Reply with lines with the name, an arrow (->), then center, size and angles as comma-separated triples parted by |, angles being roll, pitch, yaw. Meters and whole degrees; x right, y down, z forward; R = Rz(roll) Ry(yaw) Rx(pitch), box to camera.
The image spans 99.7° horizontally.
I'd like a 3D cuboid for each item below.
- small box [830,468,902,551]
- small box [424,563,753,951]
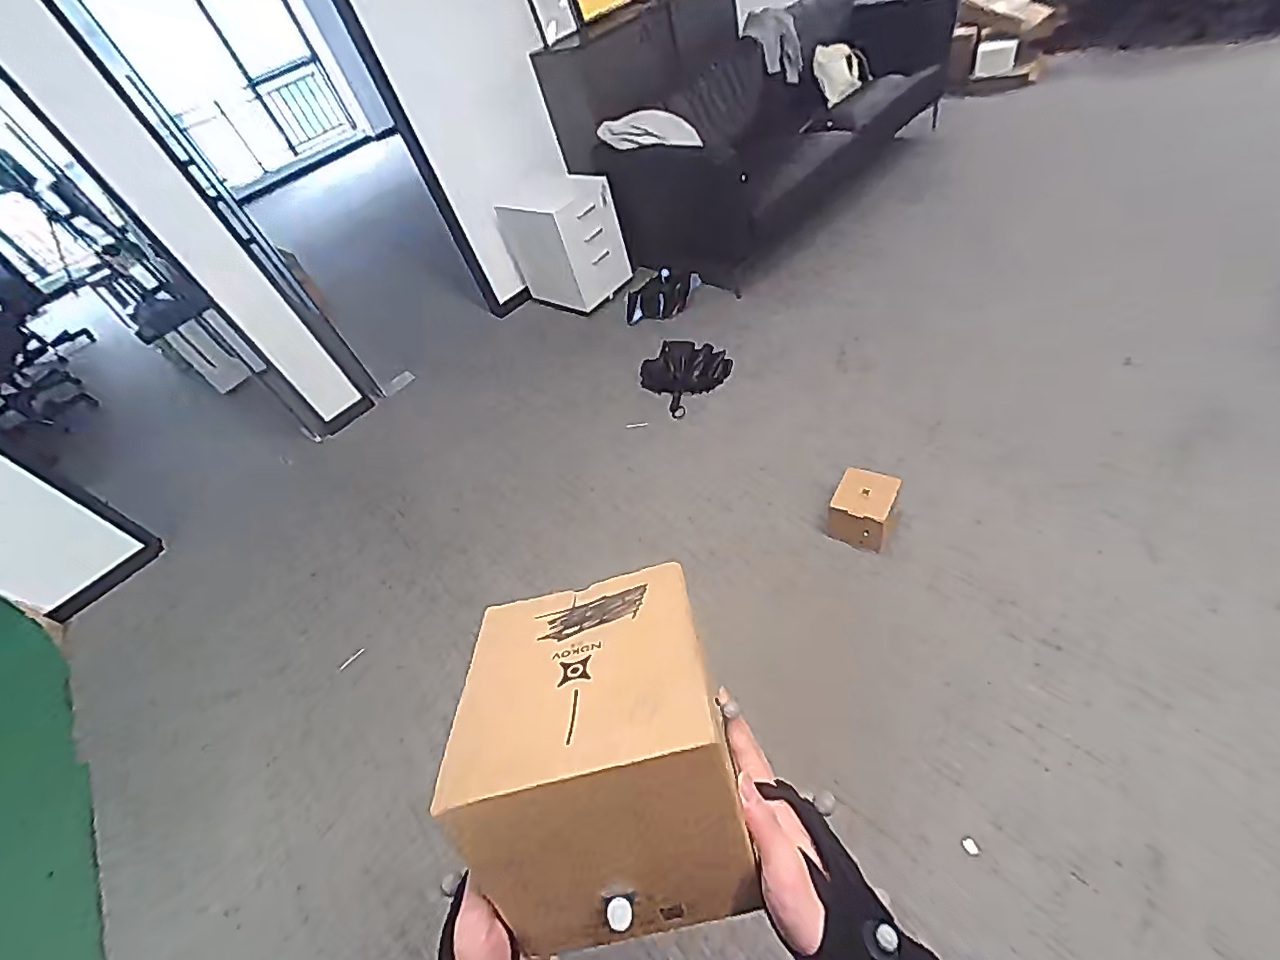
small box -> 0.712, 0.096, 1.712 | 0.168, 0.176, 0.179 | 18, 56, 30
small box -> -0.025, 0.194, 0.401 | 0.168, 0.176, 0.179 | -15, 27, 4
